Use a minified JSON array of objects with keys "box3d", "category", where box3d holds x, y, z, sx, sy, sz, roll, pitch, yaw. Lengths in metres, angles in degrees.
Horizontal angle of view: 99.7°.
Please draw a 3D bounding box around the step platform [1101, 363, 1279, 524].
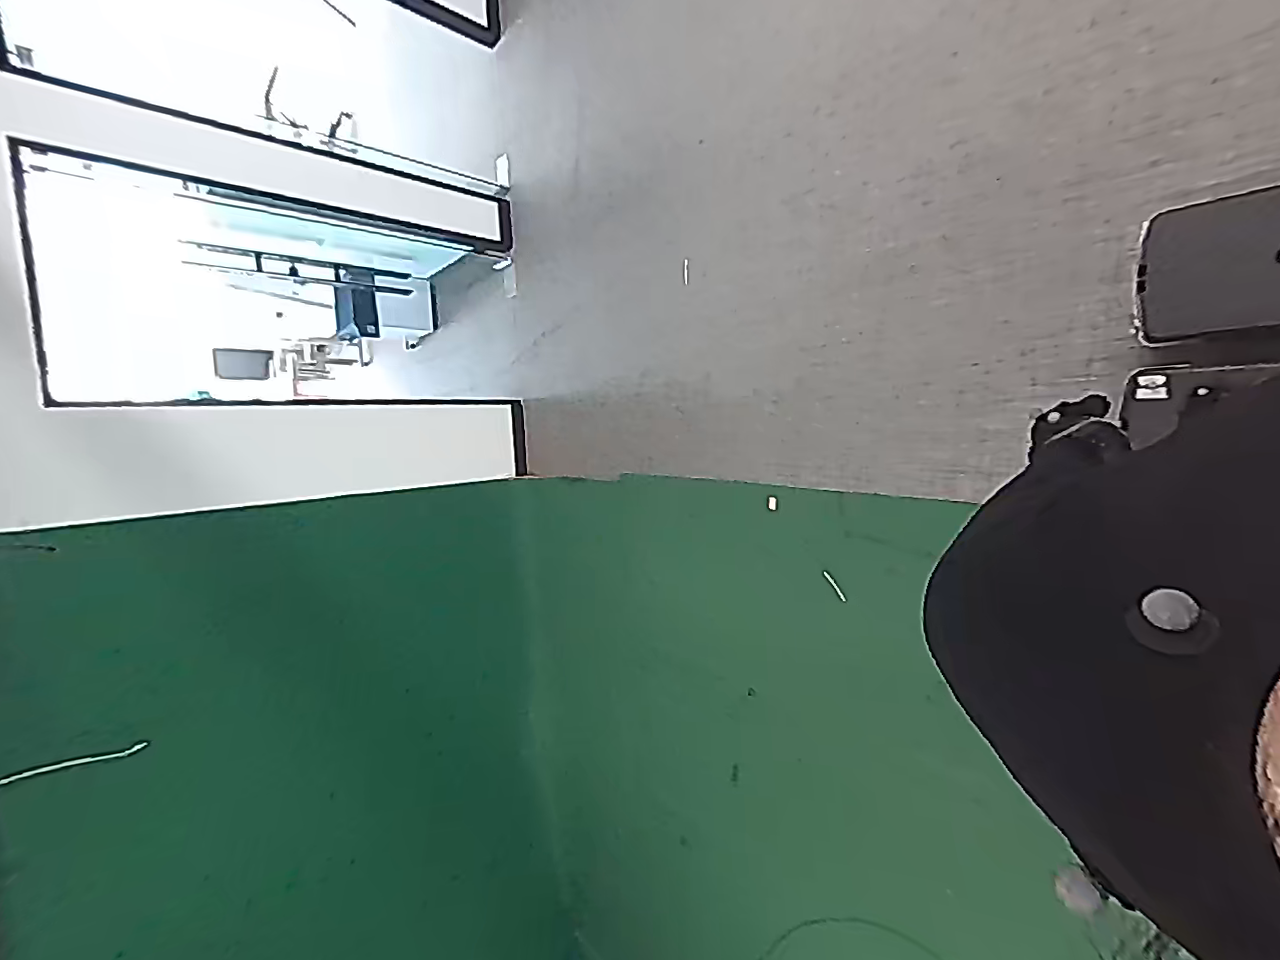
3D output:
[{"box3d":[1.175,-0.057,0.838,0.684,0.204,0.286,4,98,47],"category":"step platform"}]
